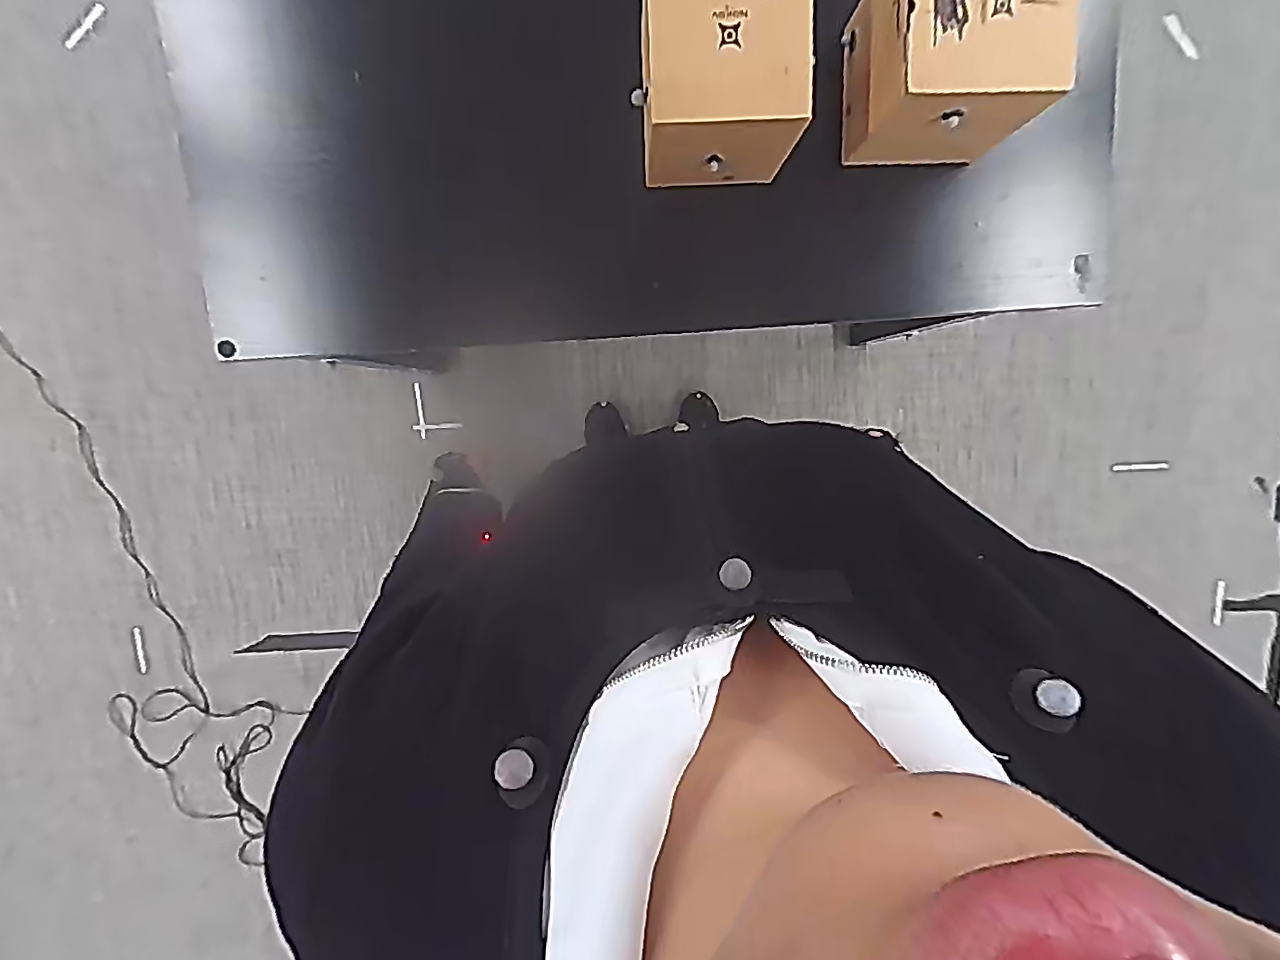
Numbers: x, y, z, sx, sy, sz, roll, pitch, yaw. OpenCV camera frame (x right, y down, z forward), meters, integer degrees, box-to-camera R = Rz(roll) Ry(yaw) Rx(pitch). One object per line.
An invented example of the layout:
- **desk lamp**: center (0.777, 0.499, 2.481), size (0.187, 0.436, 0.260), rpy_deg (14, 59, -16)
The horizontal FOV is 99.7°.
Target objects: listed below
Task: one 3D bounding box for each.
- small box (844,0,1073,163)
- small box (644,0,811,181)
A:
- **small box**: center (0.351, -0.488, 0.626), size (0.179, 0.176, 0.168), rpy_deg (-2, 98, -1)
- **small box**: center (0.090, -0.465, 0.626), size (0.168, 0.176, 0.179), rpy_deg (-2, 98, -1)
